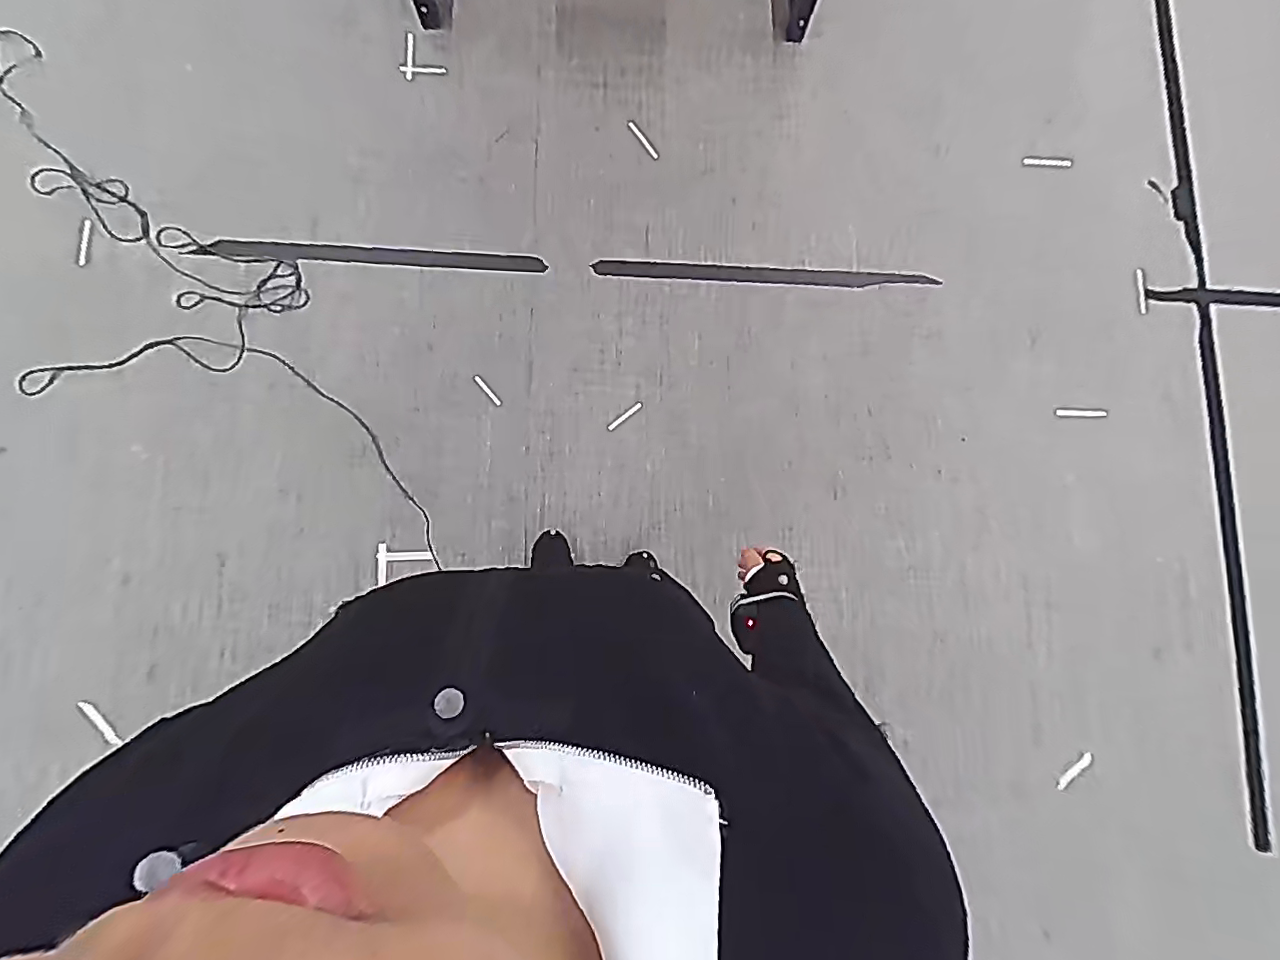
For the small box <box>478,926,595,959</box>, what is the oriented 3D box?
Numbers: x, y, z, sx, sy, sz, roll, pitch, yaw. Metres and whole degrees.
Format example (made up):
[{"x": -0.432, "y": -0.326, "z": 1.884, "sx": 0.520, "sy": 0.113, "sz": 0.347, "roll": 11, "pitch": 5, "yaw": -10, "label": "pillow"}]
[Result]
[{"x": -0.149, "y": 0.754, "z": 0.728, "sx": 0.168, "sy": 0.176, "sz": 0.179, "roll": 2, "pitch": 80, "yaw": -2, "label": "small box"}]
